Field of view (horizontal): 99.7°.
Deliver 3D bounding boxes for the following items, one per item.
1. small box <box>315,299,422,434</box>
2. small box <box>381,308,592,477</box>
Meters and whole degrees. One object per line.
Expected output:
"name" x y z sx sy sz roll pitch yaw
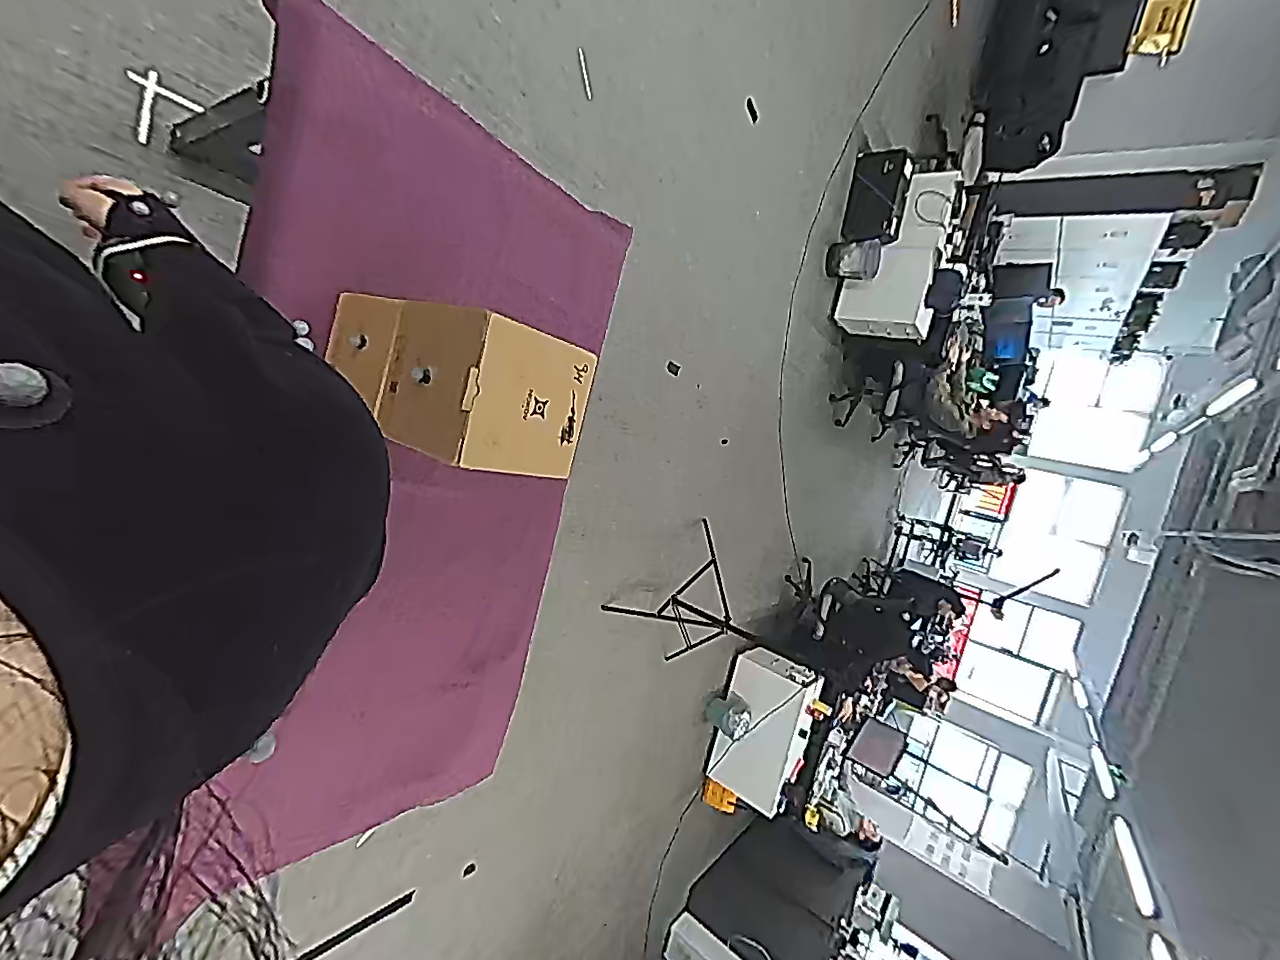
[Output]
"small box" -0.325 -0.147 0.767 0.179 0.176 0.168 10 96 -56
"small box" -0.193 -0.109 0.678 0.179 0.176 0.168 8 98 -55
